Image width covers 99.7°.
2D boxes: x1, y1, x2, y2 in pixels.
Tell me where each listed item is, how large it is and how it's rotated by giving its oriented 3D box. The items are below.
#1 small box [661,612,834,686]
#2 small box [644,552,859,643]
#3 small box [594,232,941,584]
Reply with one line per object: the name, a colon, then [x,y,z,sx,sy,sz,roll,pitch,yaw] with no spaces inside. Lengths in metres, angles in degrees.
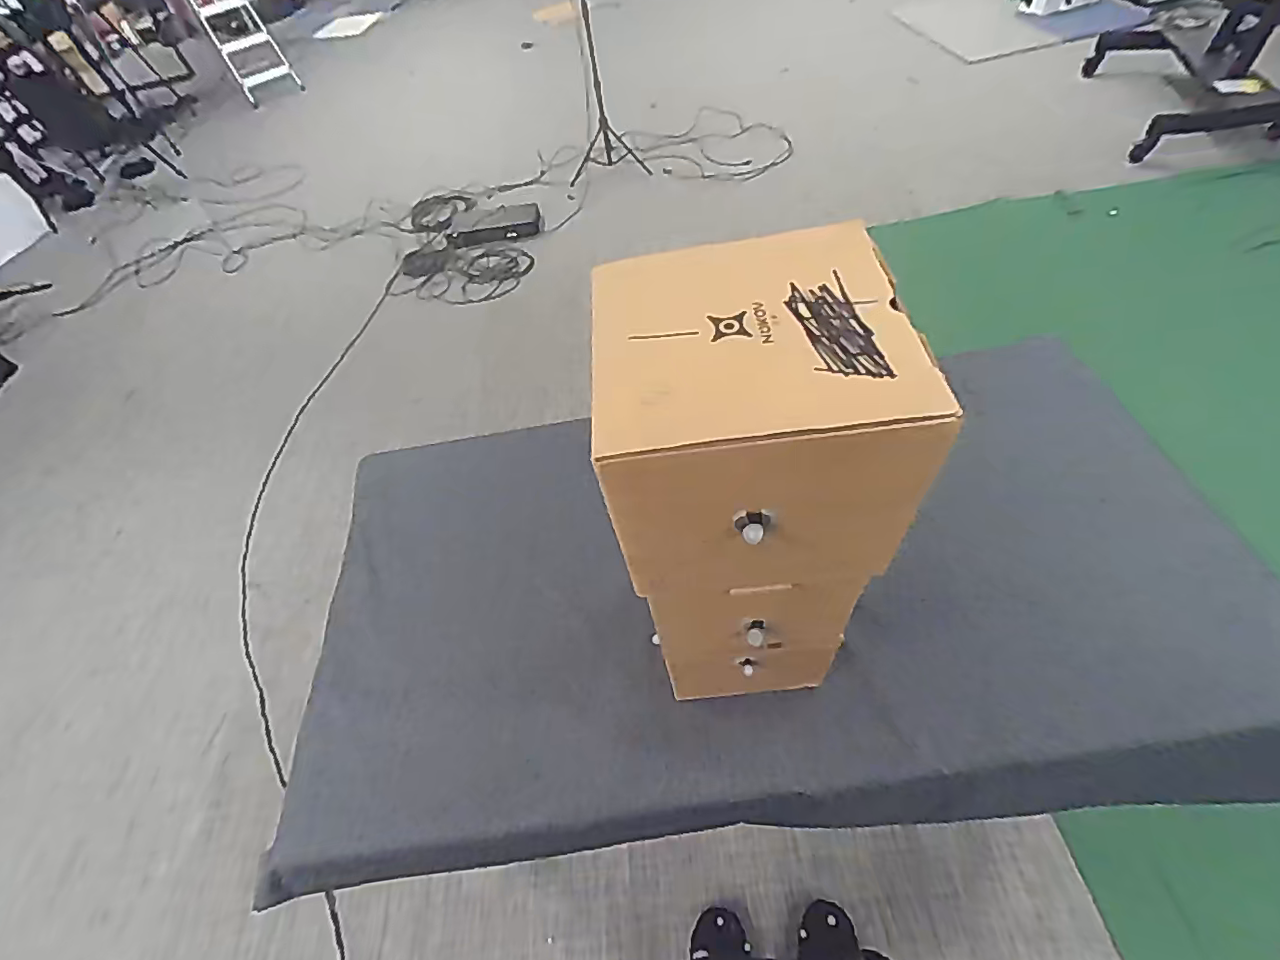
small box: [0.114,0.139,0.652,0.179,0.176,0.168,-7,55,3]
small box: [0.090,0.047,0.518,0.168,0.176,0.179,-7,55,4]
small box: [0.070,-0.040,0.379,0.179,0.176,0.168,-7,54,5]
